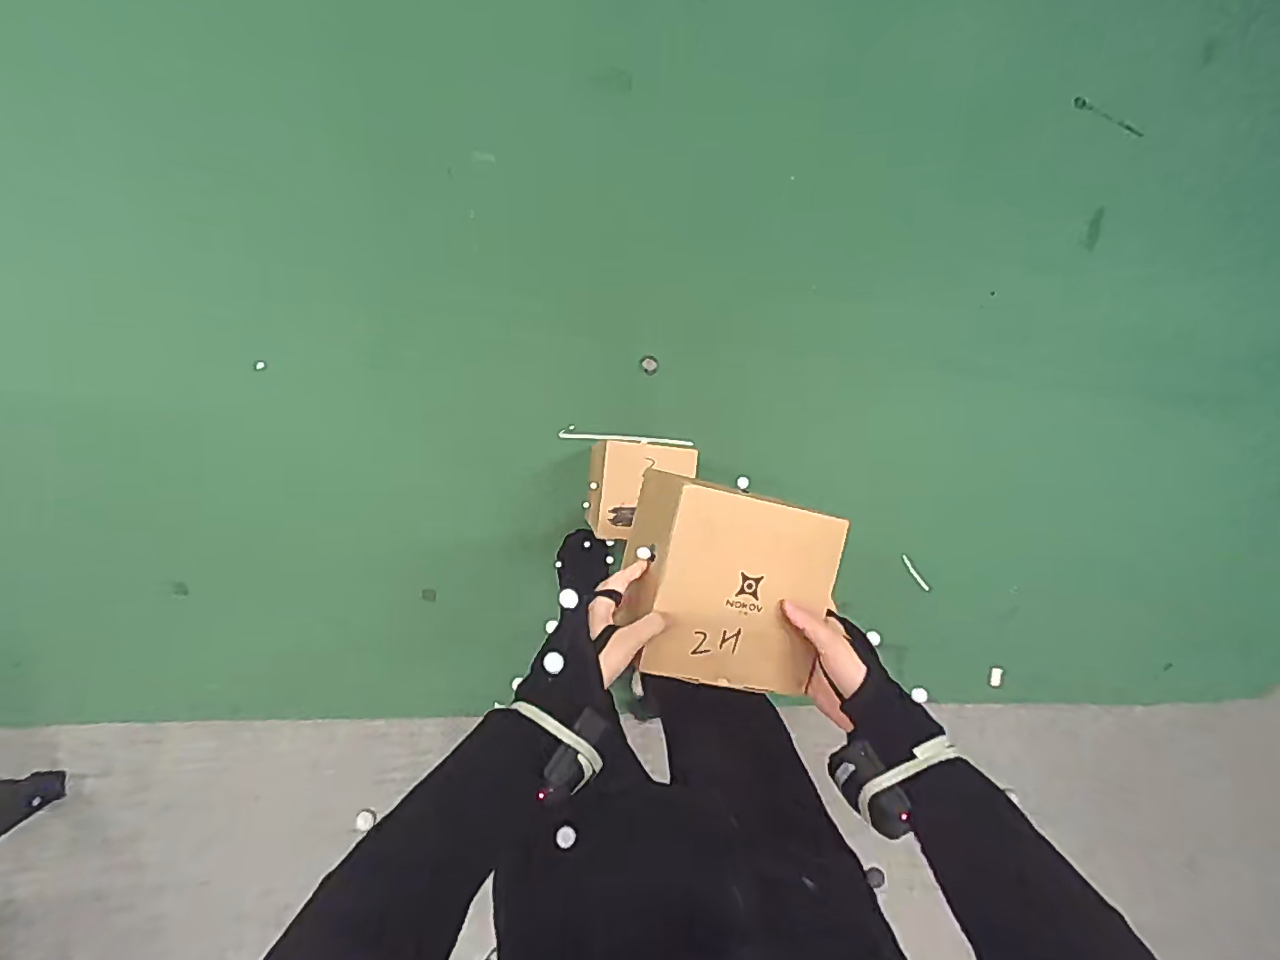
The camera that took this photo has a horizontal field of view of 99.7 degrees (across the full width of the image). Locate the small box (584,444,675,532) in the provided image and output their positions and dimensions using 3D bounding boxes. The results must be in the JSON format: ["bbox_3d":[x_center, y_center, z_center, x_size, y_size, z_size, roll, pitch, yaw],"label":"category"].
[{"bbox_3d":[-0.030,0.018,1.189,0.168,0.176,0.179,6,92,-9],"label":"small box"}]

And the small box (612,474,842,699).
[{"bbox_3d":[0.076,0.098,0.570,0.168,0.176,0.179,14,94,-13],"label":"small box"}]
